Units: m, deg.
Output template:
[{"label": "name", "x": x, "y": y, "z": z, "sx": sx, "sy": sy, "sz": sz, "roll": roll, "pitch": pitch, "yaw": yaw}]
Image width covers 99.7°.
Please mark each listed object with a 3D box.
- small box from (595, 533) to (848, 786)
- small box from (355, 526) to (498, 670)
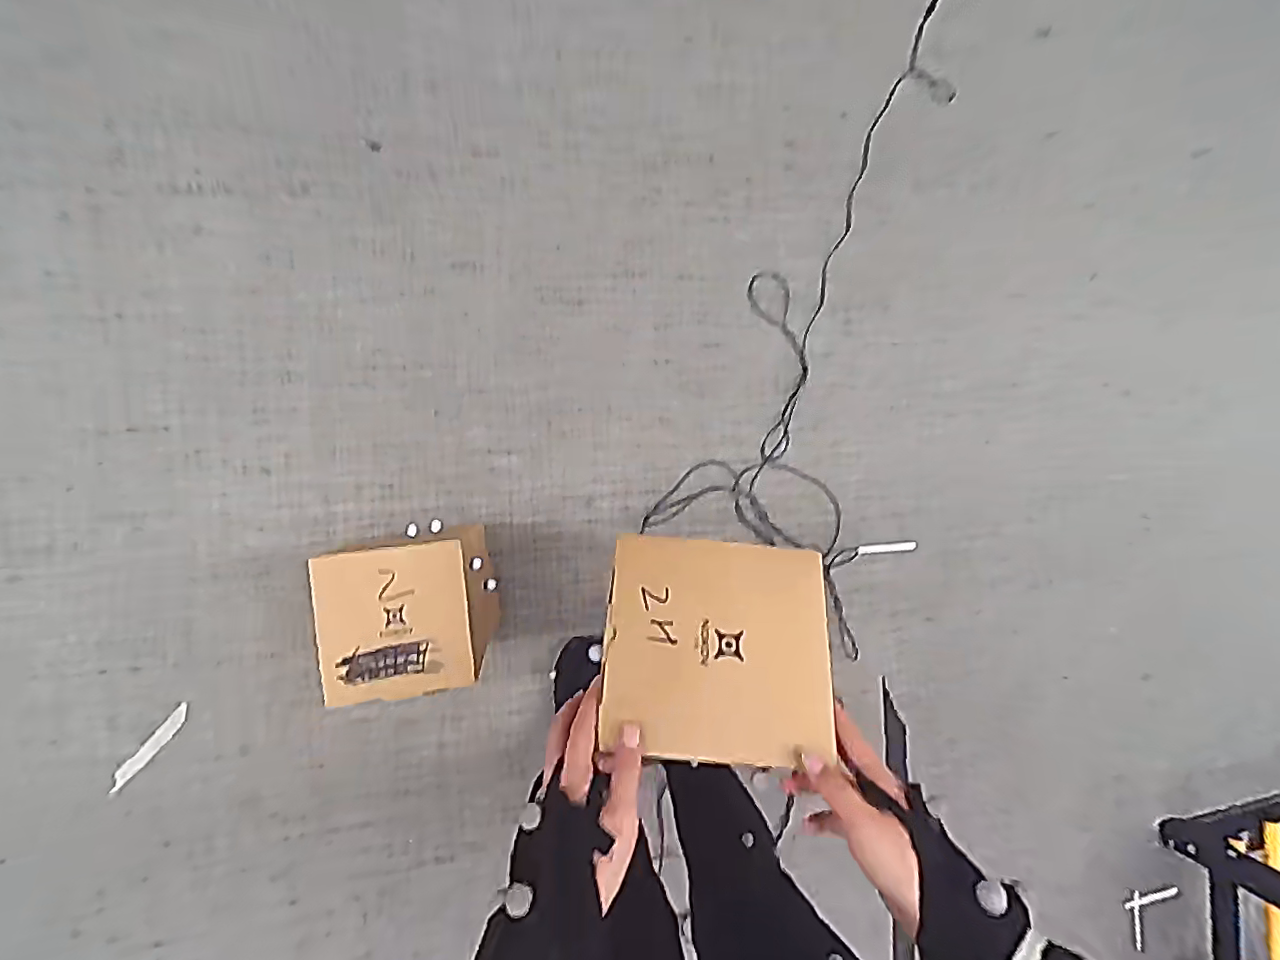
[{"label": "small box", "x": 0.060, "y": 0.160, "z": 0.472, "sx": 0.179, "sy": 0.176, "sz": 0.168, "roll": 6, "pitch": 63, "yaw": 1}, {"label": "small box", "x": -0.325, "y": 0.172, "z": 0.853, "sx": 0.168, "sy": 0.176, "sz": 0.179, "roll": -11, "pitch": 92, "yaw": -11}]
